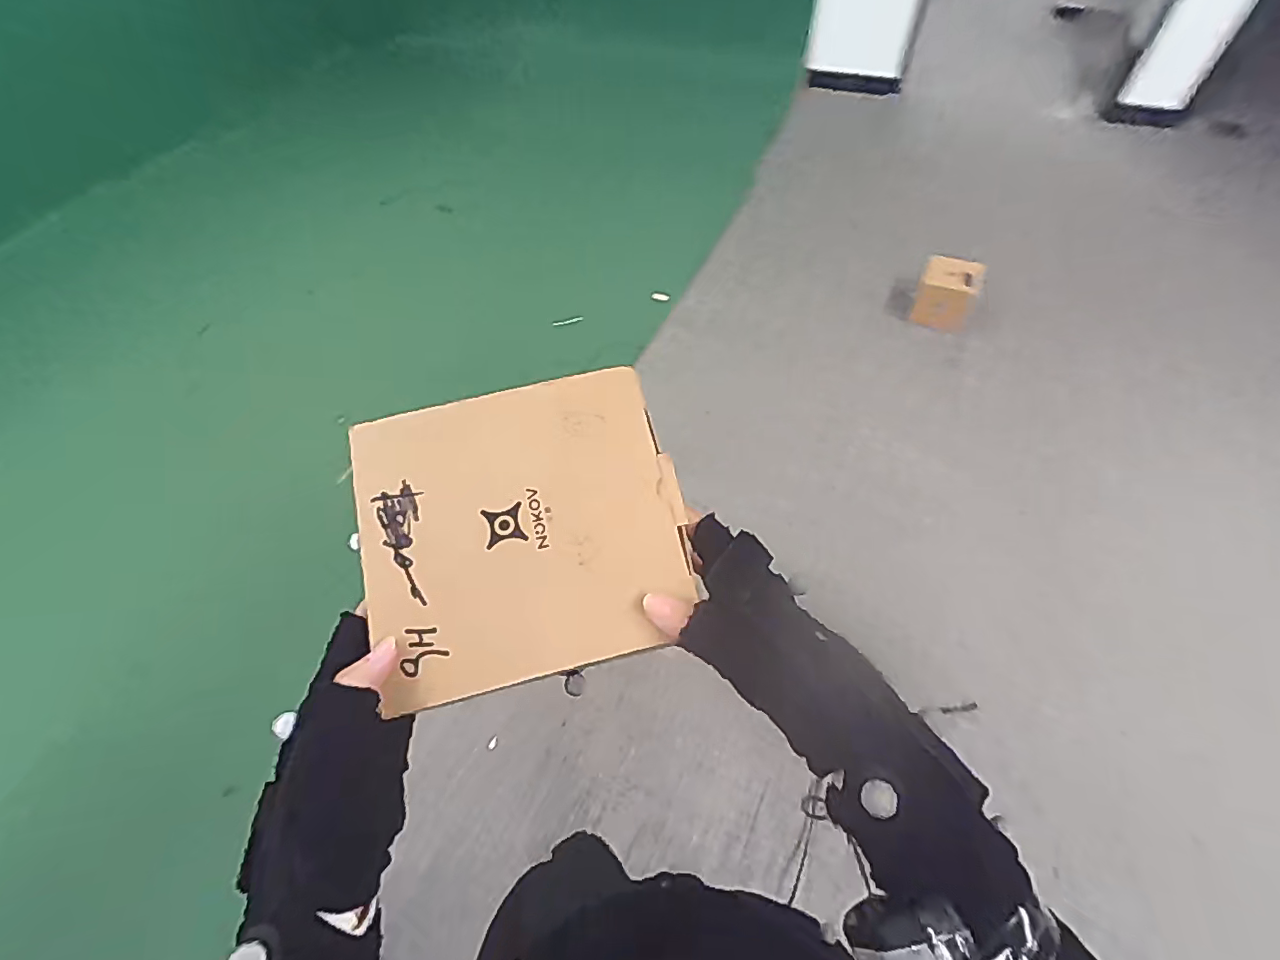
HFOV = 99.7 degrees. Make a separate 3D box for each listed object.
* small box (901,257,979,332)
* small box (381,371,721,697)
[{"bbox_3d":[1.041,-0.641,1.882,0.179,0.176,0.168,19,61,18],"label":"small box"},{"bbox_3d":[-0.059,0.046,0.385,0.179,0.176,0.168,-11,71,-6],"label":"small box"}]
